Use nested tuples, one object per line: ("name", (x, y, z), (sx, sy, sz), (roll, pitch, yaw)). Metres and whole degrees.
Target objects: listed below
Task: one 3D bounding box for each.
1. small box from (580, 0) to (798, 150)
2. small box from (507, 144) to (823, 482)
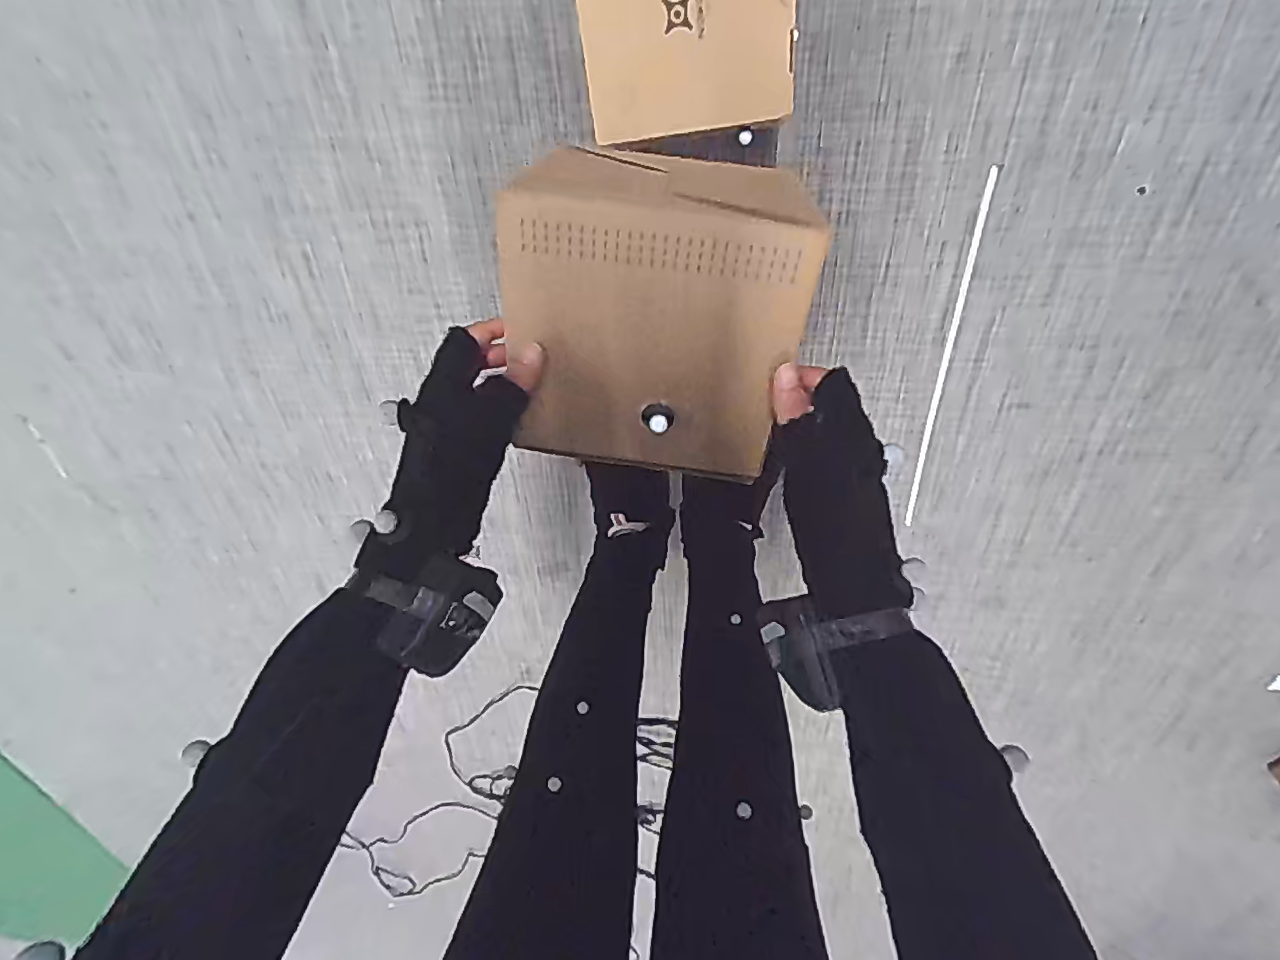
("small box", (0.051, -0.416, 0.506), (0.179, 0.176, 0.168), (-2, 120, 10))
("small box", (0.015, -0.123, 0.389), (0.179, 0.168, 0.176), (8, 132, 1))
